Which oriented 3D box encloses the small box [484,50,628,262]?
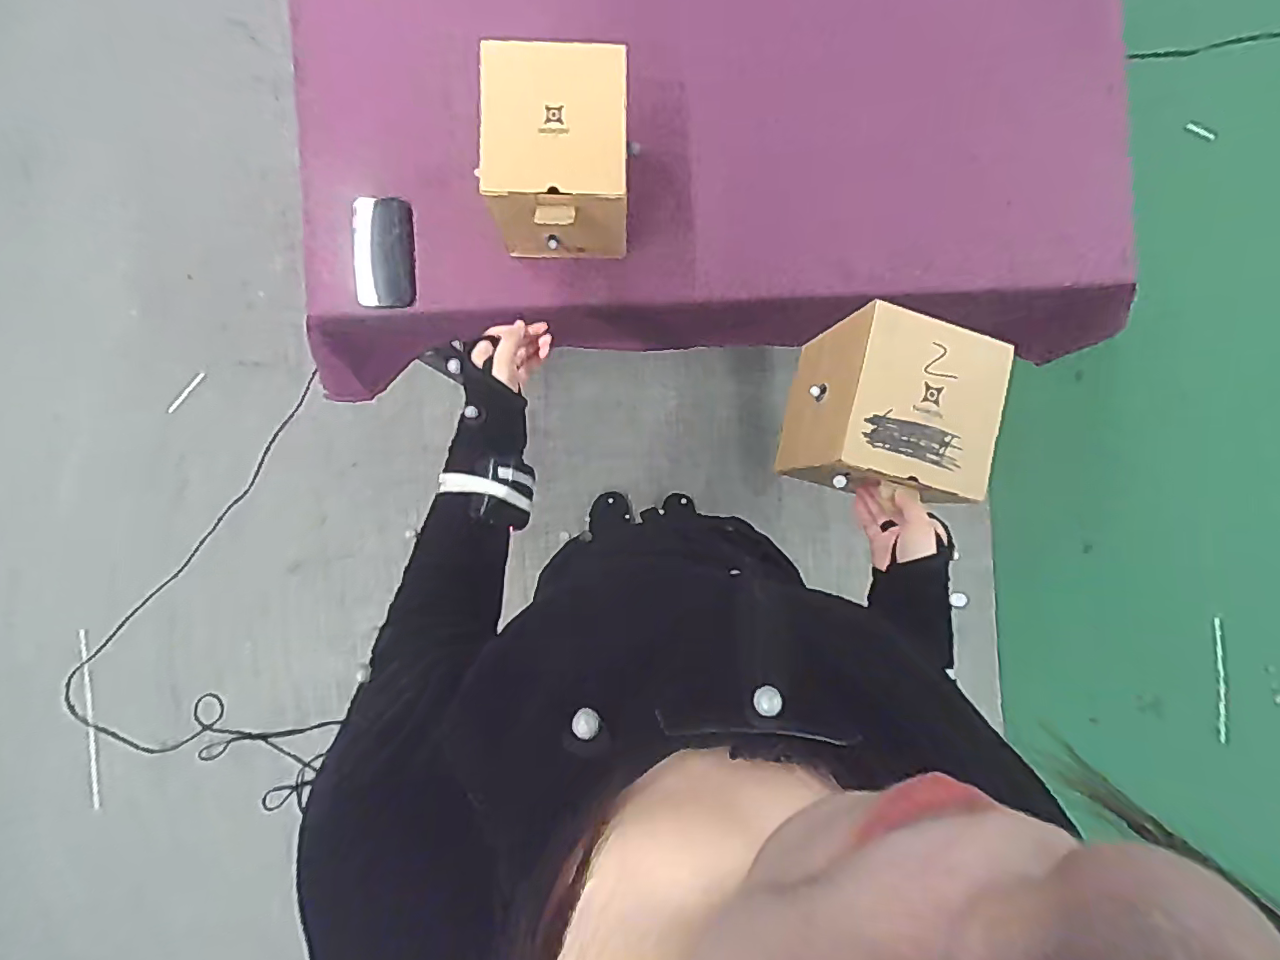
[{"bbox_3d":[-0.100,-0.405,0.701,0.168,0.176,0.179,0,90,-2],"label":"small box"}]
